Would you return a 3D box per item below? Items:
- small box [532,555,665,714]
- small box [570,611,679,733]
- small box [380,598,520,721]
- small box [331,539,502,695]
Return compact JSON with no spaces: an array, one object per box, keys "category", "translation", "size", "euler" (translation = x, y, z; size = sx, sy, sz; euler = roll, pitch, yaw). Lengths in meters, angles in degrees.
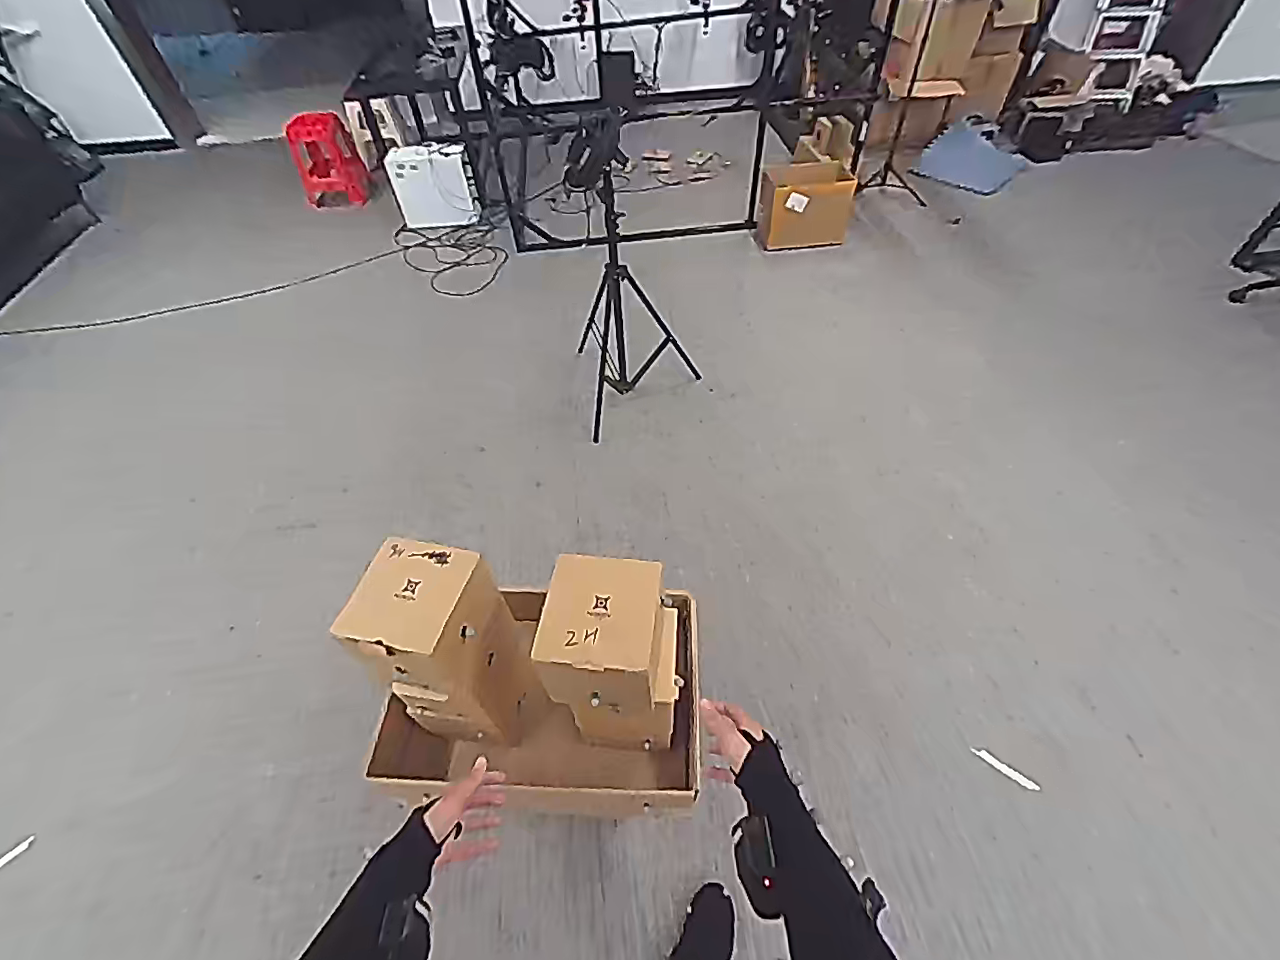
[{"category":"small box","translation":[-0.053,0.241,0.842],"size":[0.168,0.176,0.179],"euler":[4,50,8]},{"category":"small box","translation":[-0.021,0.342,0.970],"size":[0.179,0.176,0.168],"euler":[2,49,6]},{"category":"small box","translation":[-0.336,0.325,1.000],"size":[0.168,0.176,0.179],"euler":[6,50,8]},{"category":"small box","translation":[-0.341,0.223,0.871],"size":[0.168,0.176,0.179],"euler":[9,51,10]}]
